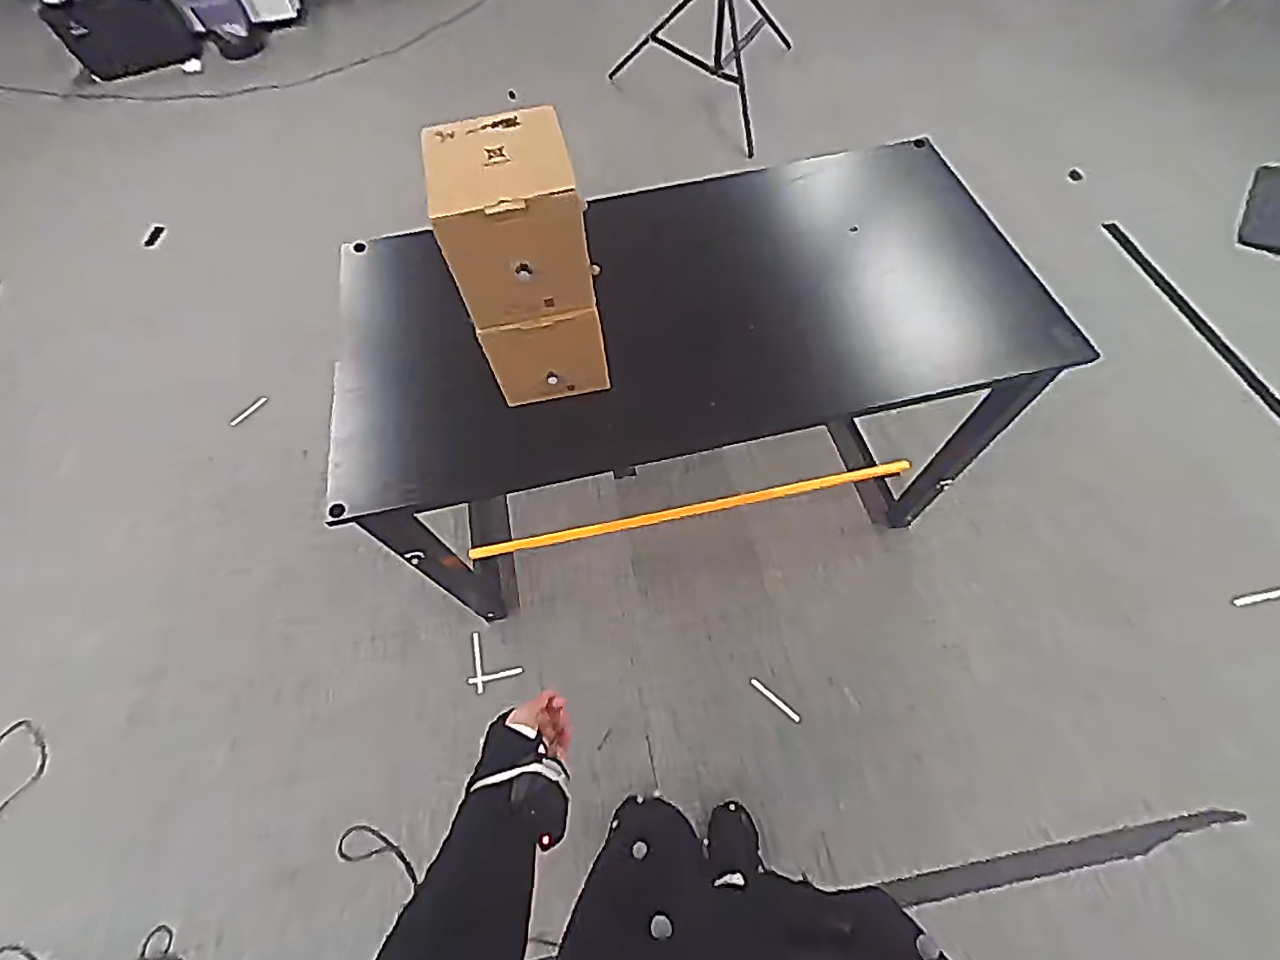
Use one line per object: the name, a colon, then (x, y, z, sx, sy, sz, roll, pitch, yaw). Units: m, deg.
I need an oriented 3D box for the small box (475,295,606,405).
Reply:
small box: (-0.150, -0.243, 0.832, 0.168, 0.176, 0.179, -11, 63, -2)

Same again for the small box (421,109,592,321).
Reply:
small box: (-0.163, -0.325, 0.691, 0.168, 0.176, 0.179, -13, 63, -4)
